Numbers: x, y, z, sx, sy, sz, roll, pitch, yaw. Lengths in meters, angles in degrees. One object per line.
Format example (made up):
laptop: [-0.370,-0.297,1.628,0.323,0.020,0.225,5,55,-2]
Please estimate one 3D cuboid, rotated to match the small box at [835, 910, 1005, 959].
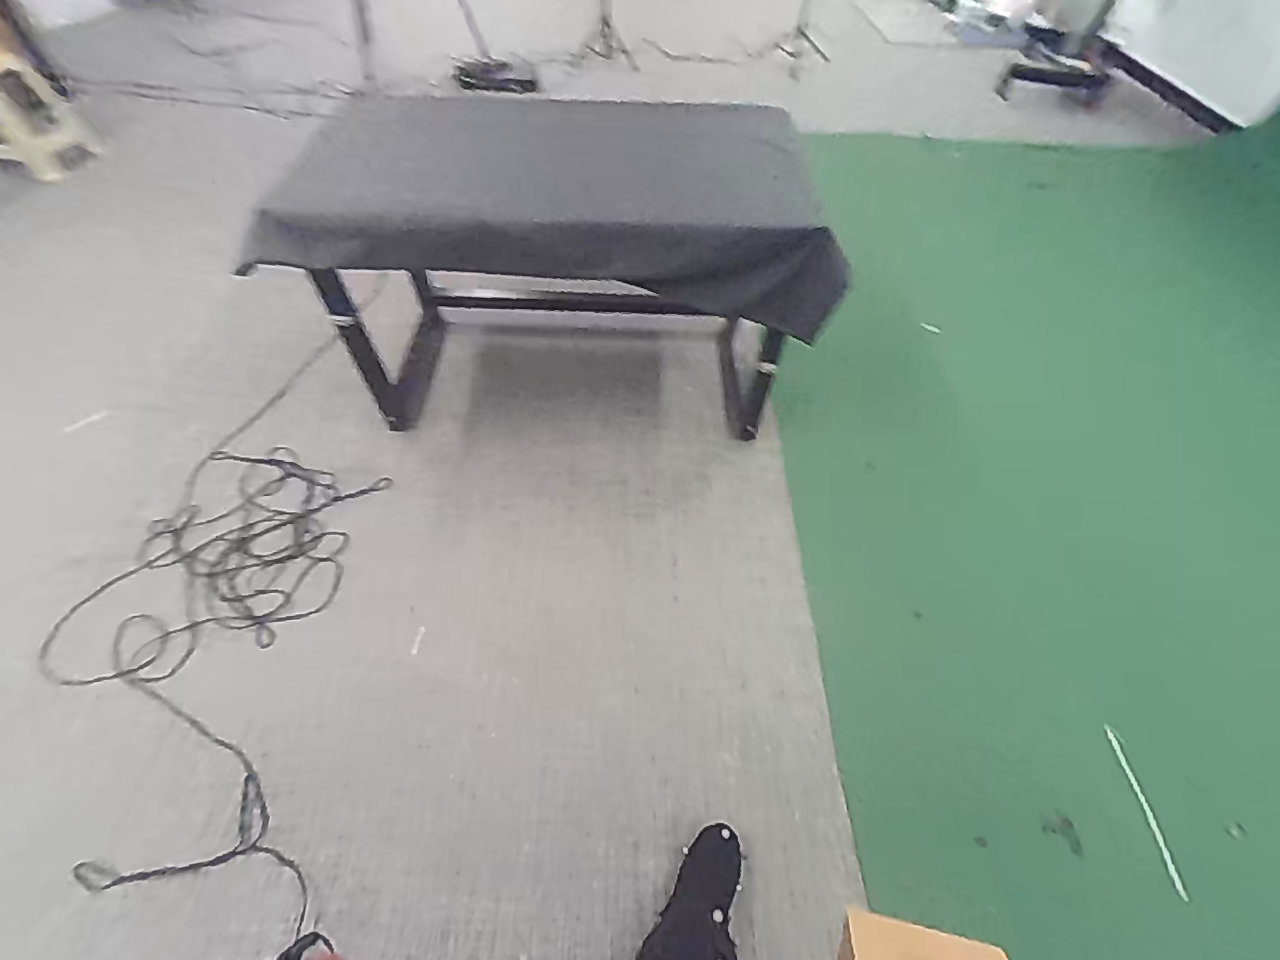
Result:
small box: [0.285,0.590,0.529,0.168,0.179,0.176,7,99,11]
